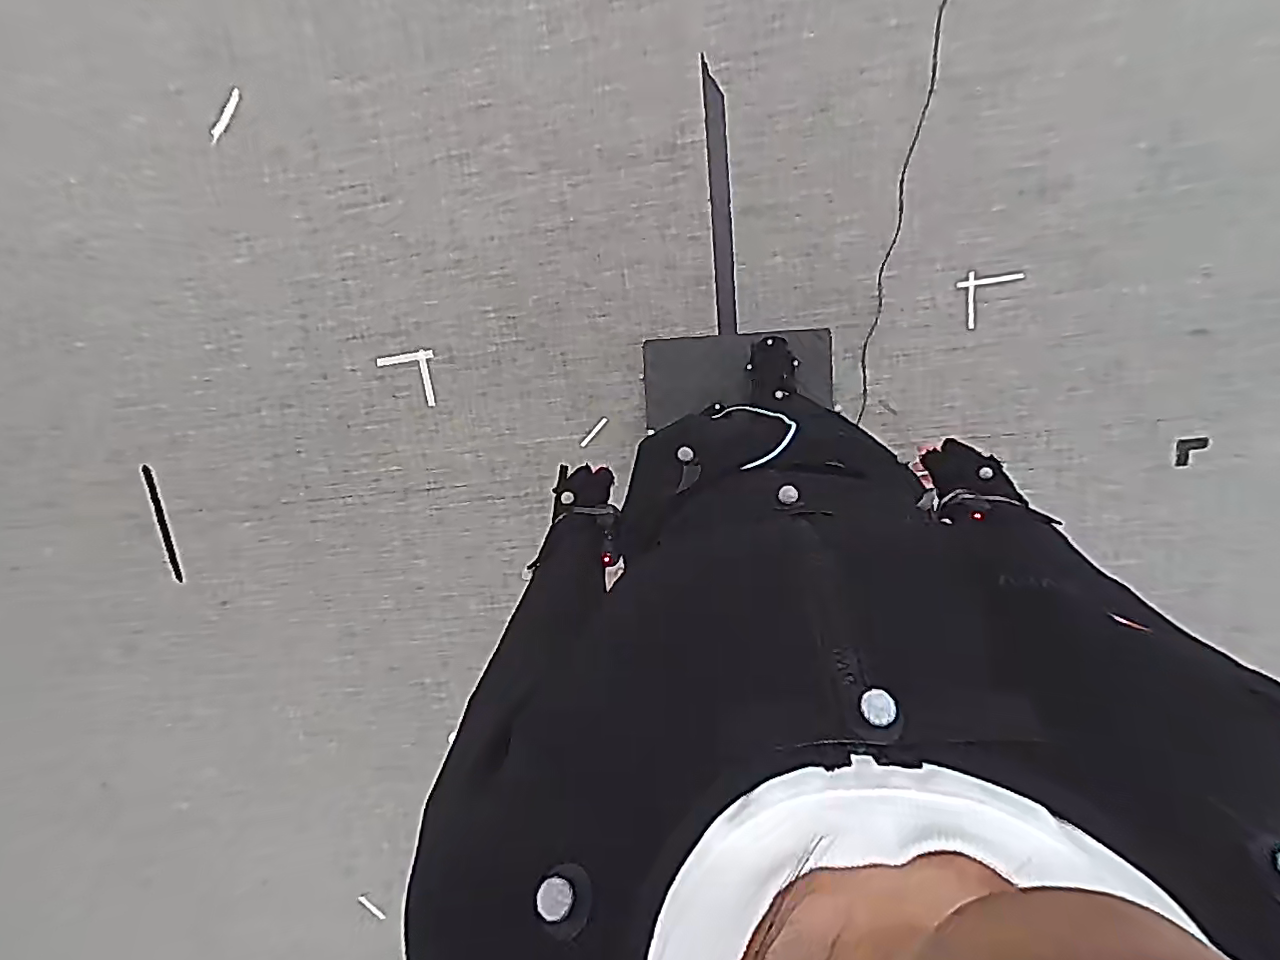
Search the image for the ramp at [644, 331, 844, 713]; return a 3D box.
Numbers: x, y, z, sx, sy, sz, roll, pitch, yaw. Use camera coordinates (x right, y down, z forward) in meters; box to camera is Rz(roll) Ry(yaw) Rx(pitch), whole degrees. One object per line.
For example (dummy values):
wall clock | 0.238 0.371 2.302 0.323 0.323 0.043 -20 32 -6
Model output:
ramp | 0.269 0.119 1.438 0.509 0.206 0.991 -4 100 9
